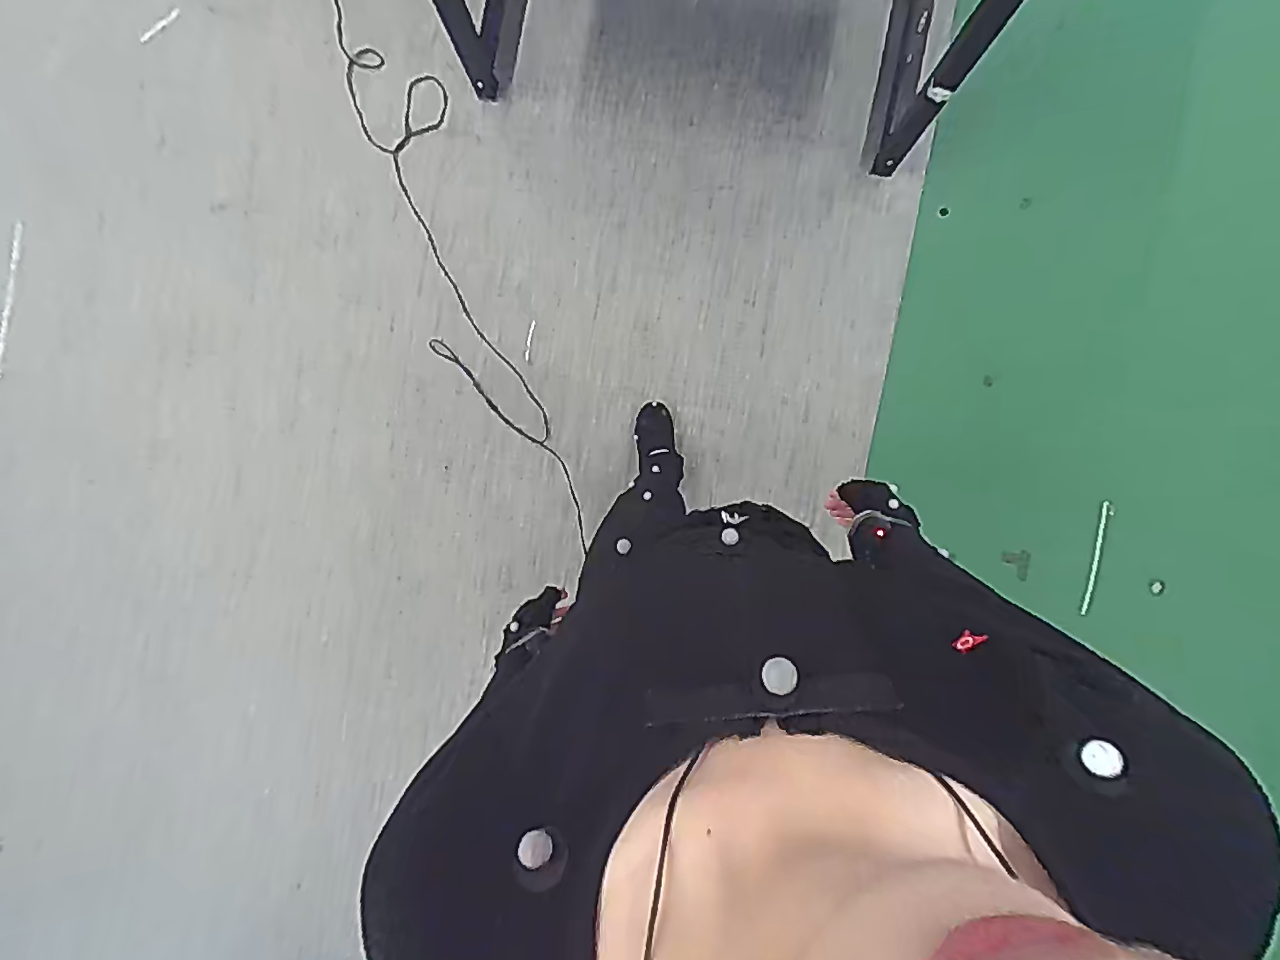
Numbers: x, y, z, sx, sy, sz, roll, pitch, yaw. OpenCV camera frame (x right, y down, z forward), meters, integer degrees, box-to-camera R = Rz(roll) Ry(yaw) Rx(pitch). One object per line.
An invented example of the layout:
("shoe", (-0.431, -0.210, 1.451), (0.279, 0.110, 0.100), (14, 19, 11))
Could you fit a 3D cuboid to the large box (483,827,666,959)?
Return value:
("large box", (-0.164, 1.143, 1.357), (0.408, 0.320, 0.320), (11, 90, 0))
